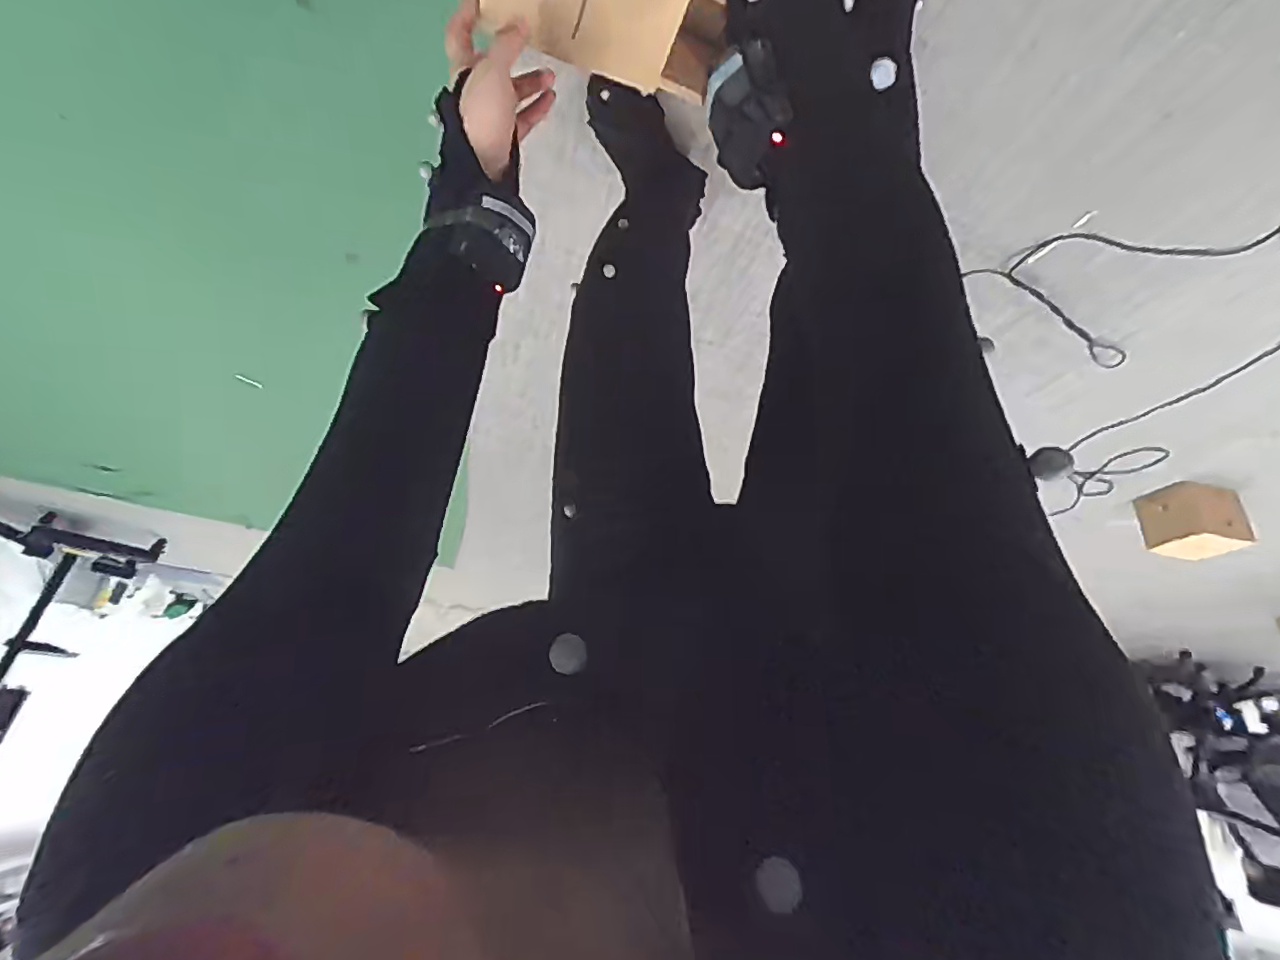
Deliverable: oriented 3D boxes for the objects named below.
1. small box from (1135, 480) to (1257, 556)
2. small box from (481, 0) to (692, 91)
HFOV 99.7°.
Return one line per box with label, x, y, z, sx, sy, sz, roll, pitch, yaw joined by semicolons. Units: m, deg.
small box;1.663;0.114;1.627;0.179;0.176;0.168;10;153;-5
small box;-0.034;-0.481;0.440;0.168;0.176;0.179;6;159;-19
